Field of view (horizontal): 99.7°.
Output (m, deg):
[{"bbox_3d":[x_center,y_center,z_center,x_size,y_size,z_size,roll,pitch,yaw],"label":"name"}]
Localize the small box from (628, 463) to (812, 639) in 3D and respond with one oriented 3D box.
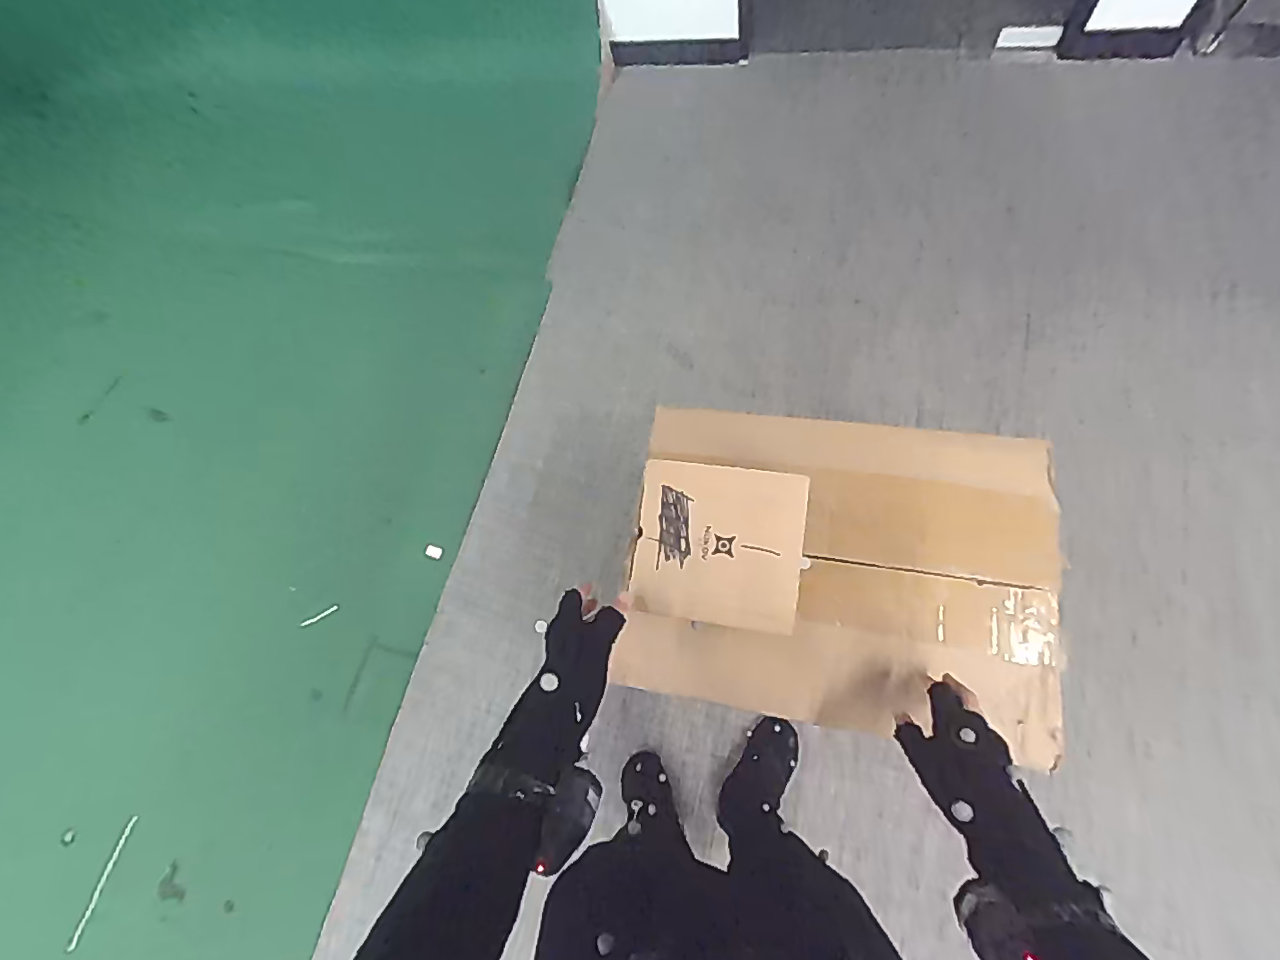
[{"bbox_3d":[0.099,0.083,0.643,0.179,0.176,0.168,7,83,13],"label":"small box"}]
